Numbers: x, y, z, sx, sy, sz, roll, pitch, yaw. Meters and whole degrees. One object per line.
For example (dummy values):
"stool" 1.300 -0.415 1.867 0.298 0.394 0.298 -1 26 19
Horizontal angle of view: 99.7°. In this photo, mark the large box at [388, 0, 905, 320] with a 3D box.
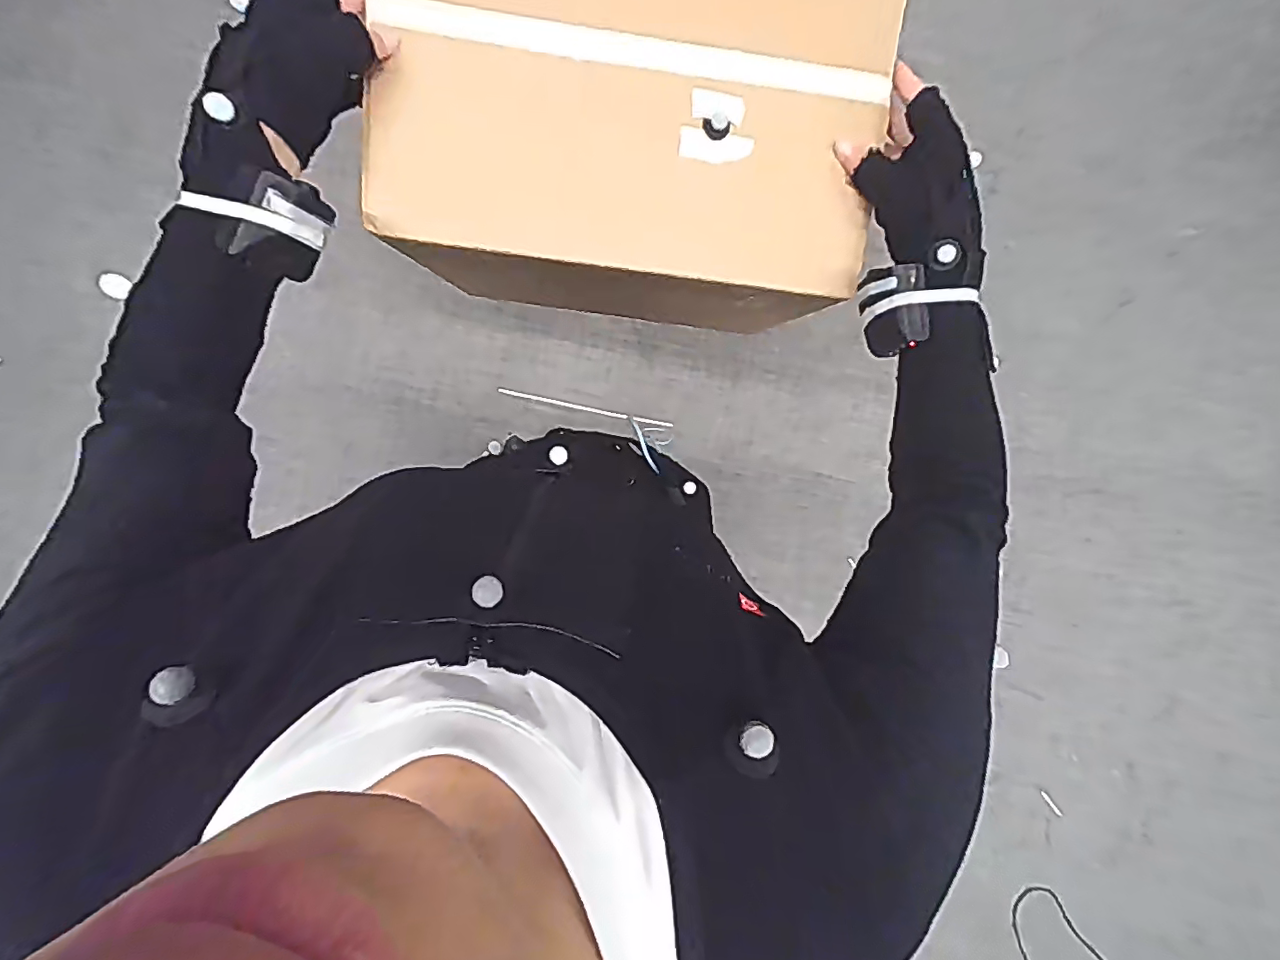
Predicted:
"large box" -0.004 -0.364 0.571 0.408 0.320 0.320 6 101 -6
